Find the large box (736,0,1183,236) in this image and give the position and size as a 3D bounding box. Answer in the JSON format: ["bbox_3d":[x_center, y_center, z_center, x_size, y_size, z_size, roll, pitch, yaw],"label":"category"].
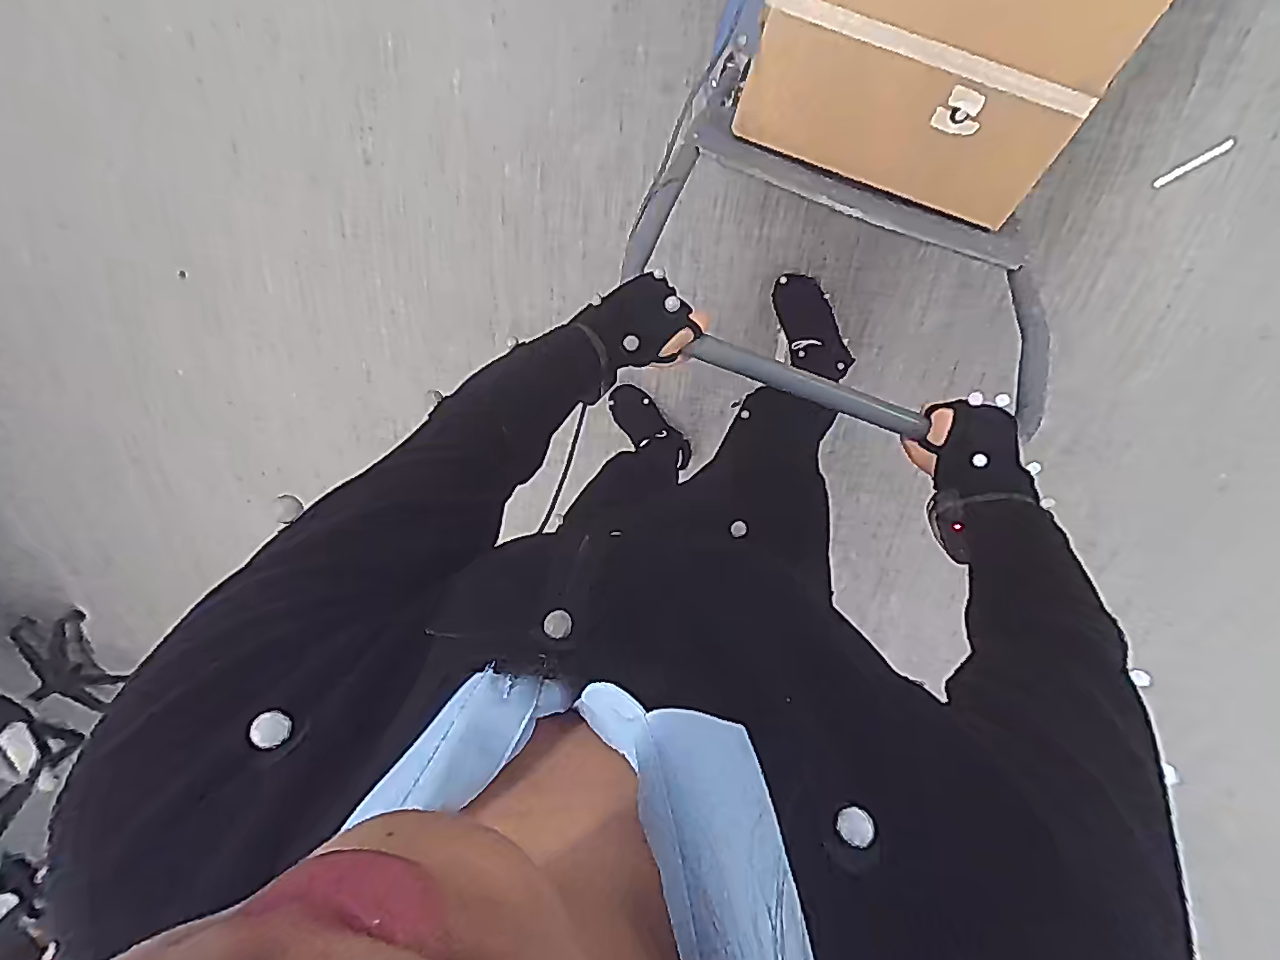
[{"bbox_3d":[0.385,-0.602,0.733,0.408,0.320,0.320,20,141,0],"label":"large box"}]
